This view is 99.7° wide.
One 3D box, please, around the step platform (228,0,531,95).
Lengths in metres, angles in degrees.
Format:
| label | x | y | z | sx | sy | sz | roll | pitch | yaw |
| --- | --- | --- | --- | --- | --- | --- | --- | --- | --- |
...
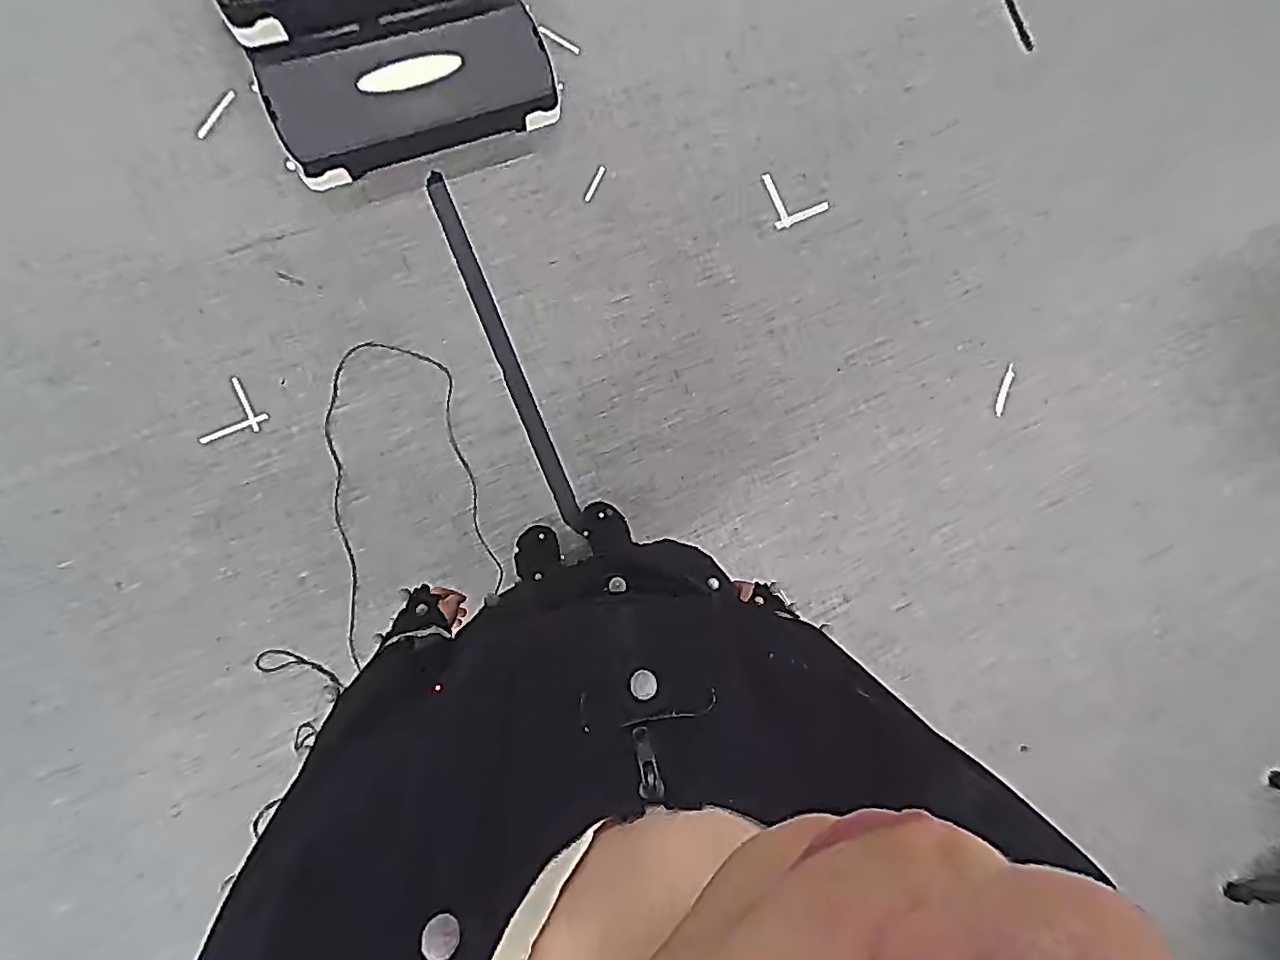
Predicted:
| label | x | y | z | sx | sy | sz | roll | pitch | yaw |
| --- | --- | --- | --- | --- | --- | --- | --- | --- | --- |
| step platform | -0.620 | -1.190 | 1.311 | 0.684 | 0.204 | 0.286 | -18 | 89 | -11 |
